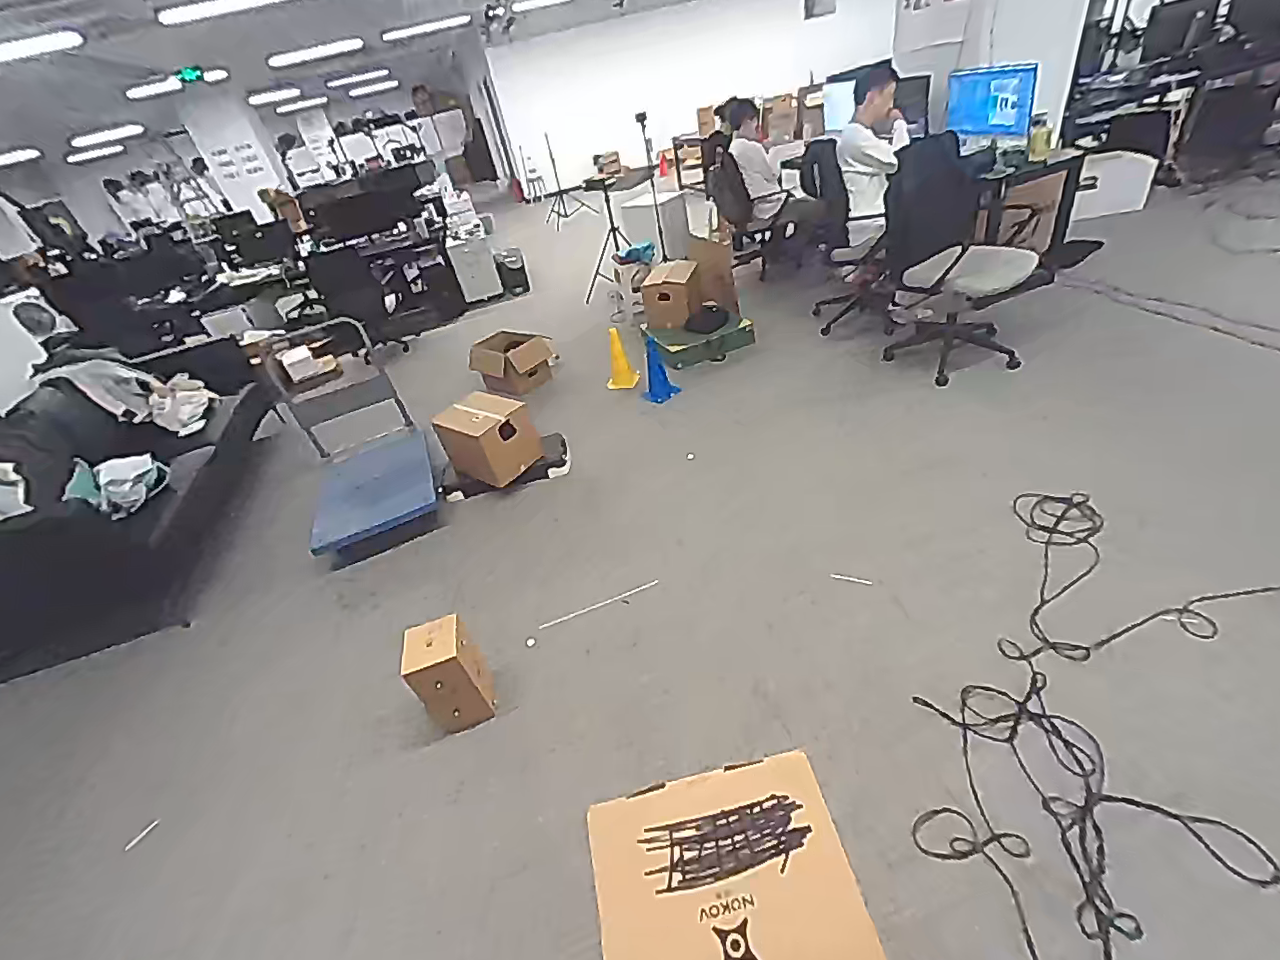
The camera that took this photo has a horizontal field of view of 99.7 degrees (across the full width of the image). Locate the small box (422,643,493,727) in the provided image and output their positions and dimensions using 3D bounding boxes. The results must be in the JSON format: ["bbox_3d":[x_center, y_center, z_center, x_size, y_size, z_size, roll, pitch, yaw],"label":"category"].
[{"bbox_3d":[-0.587,0.668,1.761,0.179,0.176,0.168,-19,37,-6],"label":"small box"}]

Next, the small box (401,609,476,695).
[{"bbox_3d":[-0.614,0.536,1.665,0.168,0.176,0.179,-18,36,-6],"label":"small box"}]
